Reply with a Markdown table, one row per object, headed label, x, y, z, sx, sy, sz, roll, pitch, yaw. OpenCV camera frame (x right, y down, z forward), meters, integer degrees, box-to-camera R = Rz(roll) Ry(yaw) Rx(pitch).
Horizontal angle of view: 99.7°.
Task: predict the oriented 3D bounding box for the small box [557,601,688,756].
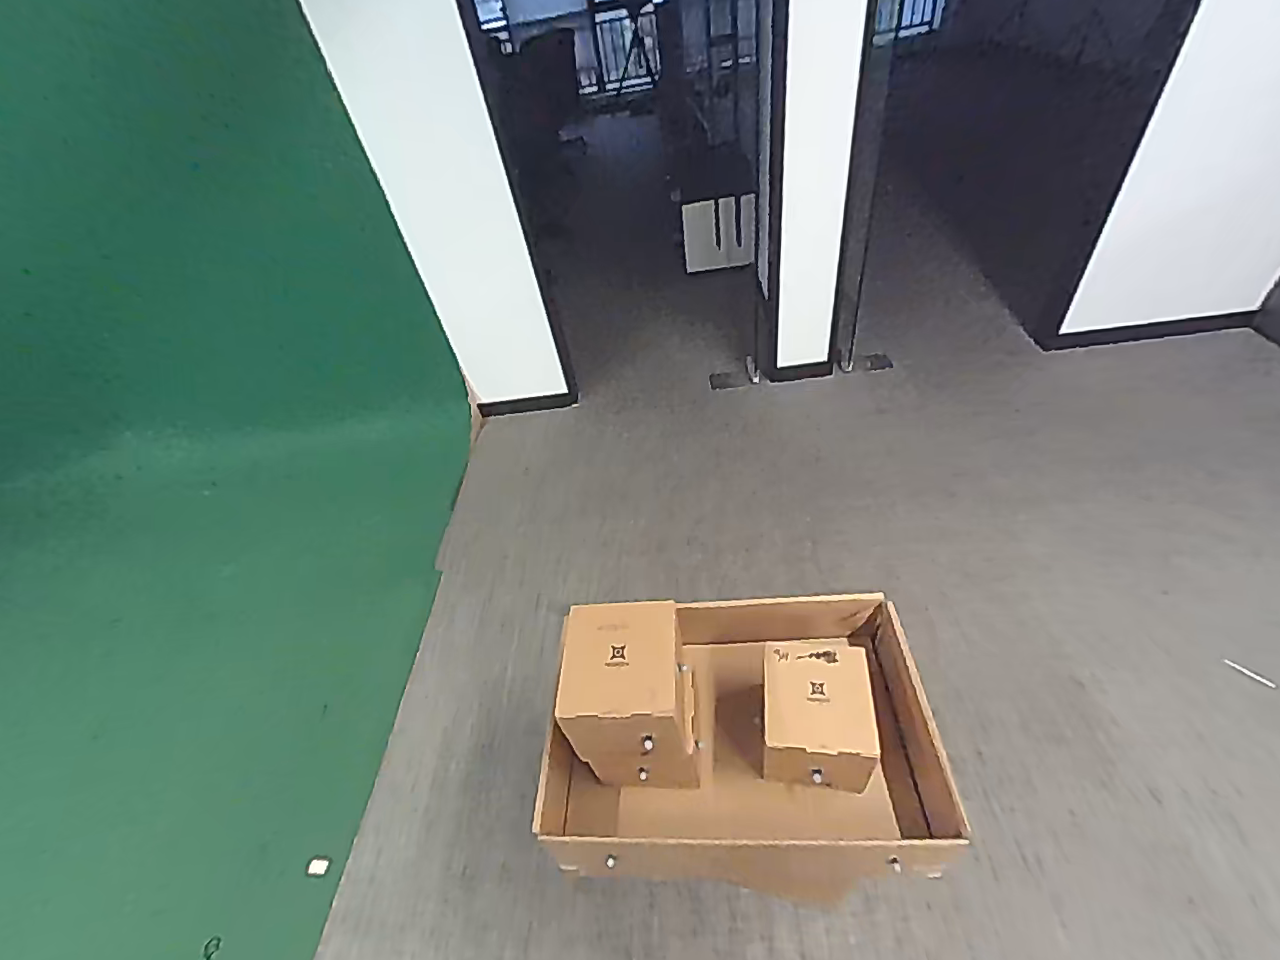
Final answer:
| label | x | y | z | sx | sy | sz | roll | pitch | yaw |
| --- | --- | --- | --- | --- | --- | --- | --- | --- | --- |
| small box | -0.016 | 0.309 | 0.832 | 0.168 | 0.176 | 0.179 | -5 | 44 | 8 |
